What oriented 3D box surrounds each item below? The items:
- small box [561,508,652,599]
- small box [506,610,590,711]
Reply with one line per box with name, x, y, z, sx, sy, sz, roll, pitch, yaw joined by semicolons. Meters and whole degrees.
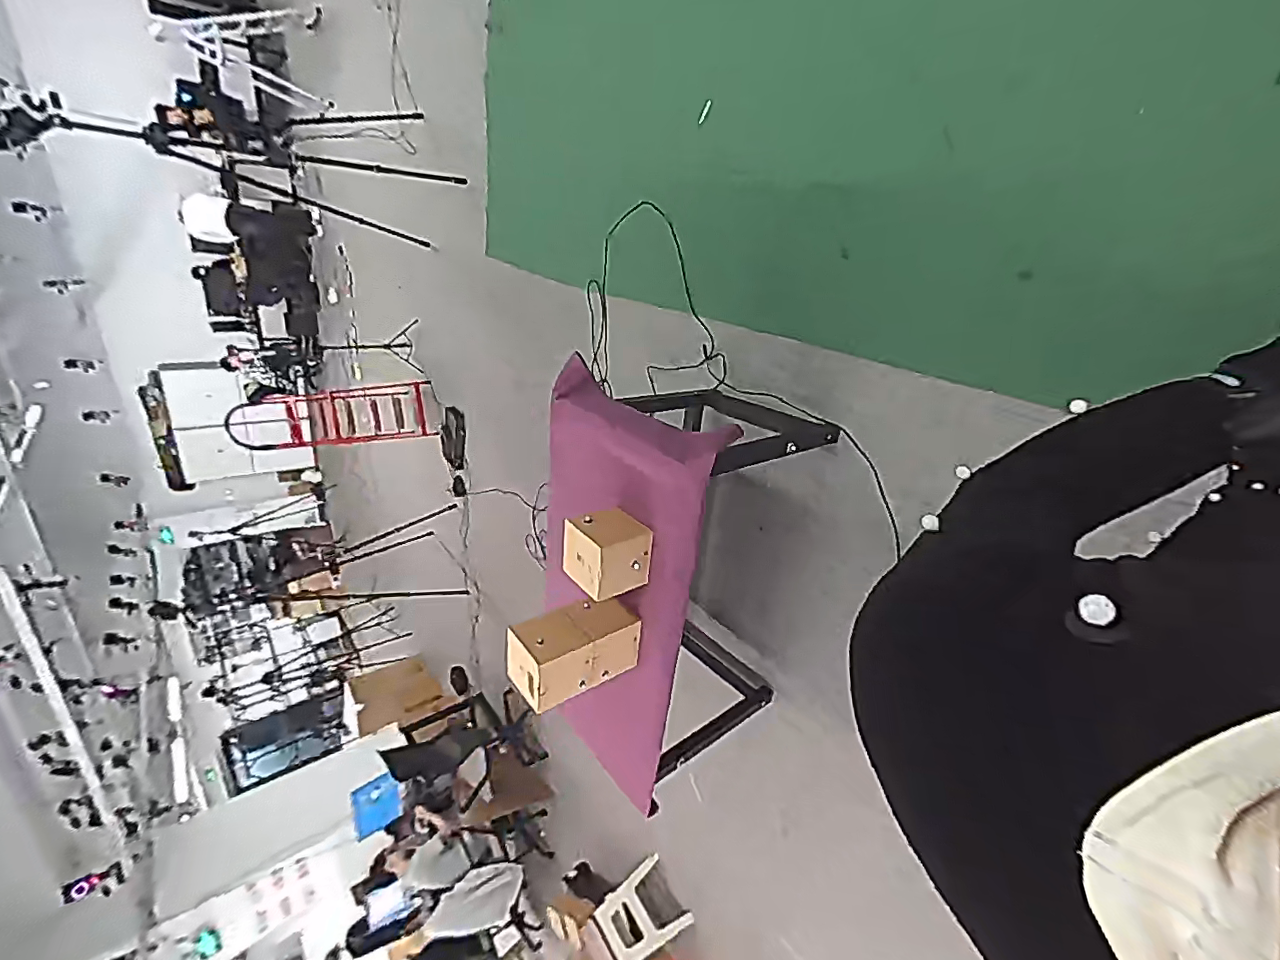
small box;-0.093;0.187;1.452;0.179;0.176;0.168;31;124;43
small box;-0.250;0.479;1.468;0.179;0.176;0.168;31;123;44
